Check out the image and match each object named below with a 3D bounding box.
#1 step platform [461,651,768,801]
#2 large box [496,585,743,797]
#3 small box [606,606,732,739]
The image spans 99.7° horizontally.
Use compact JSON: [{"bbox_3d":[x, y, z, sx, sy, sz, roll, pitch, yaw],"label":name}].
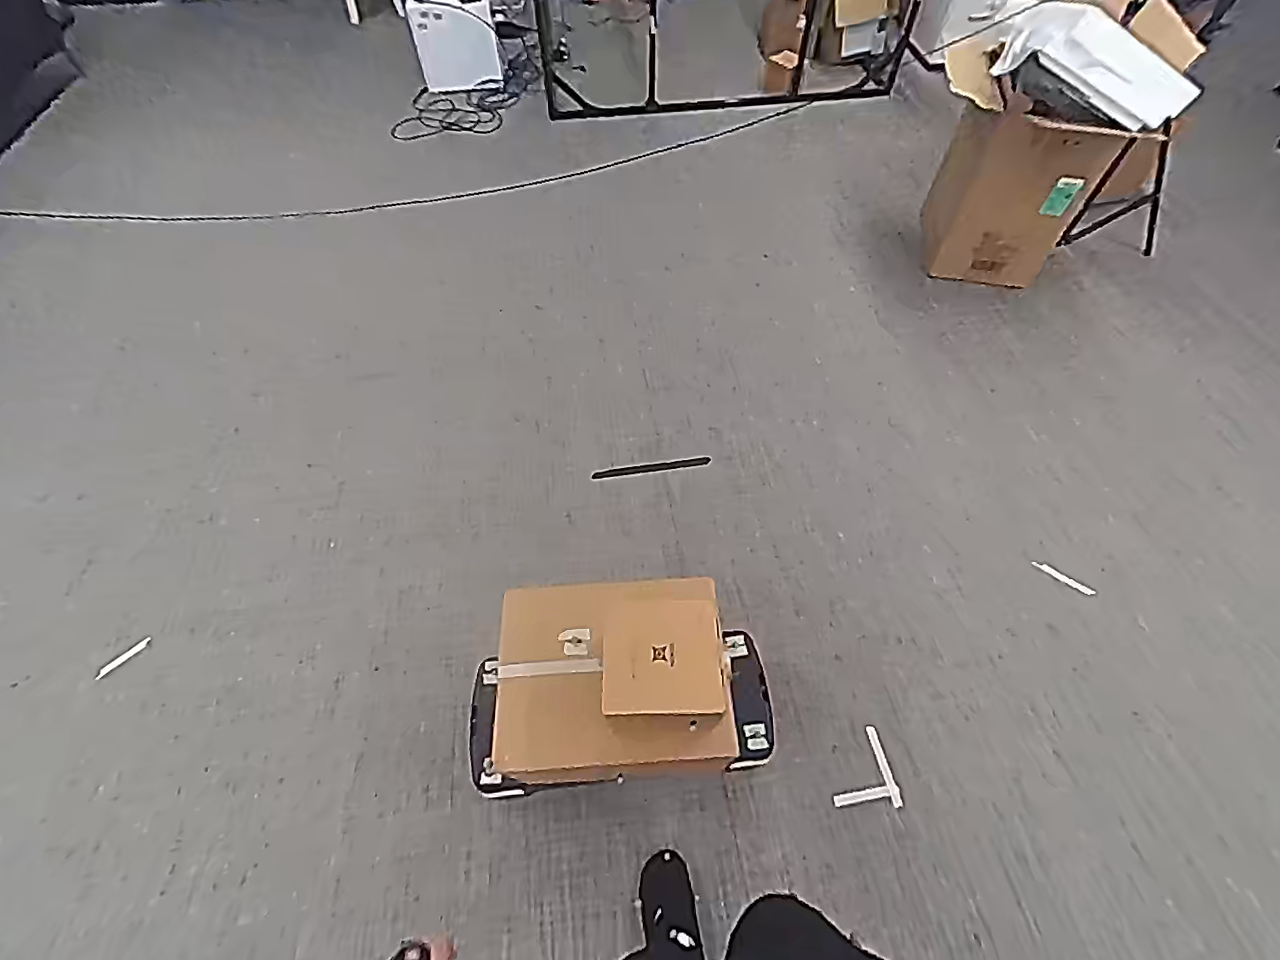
[{"bbox_3d":[-0.053,0.567,1.255,0.684,0.204,0.286,-2,56,0],"label":"step platform"},{"bbox_3d":[-0.038,0.424,1.064,0.408,0.320,0.320,-5,56,-1],"label":"large box"},{"bbox_3d":[0.040,0.304,0.848,0.179,0.176,0.168,-2,57,1],"label":"small box"}]
